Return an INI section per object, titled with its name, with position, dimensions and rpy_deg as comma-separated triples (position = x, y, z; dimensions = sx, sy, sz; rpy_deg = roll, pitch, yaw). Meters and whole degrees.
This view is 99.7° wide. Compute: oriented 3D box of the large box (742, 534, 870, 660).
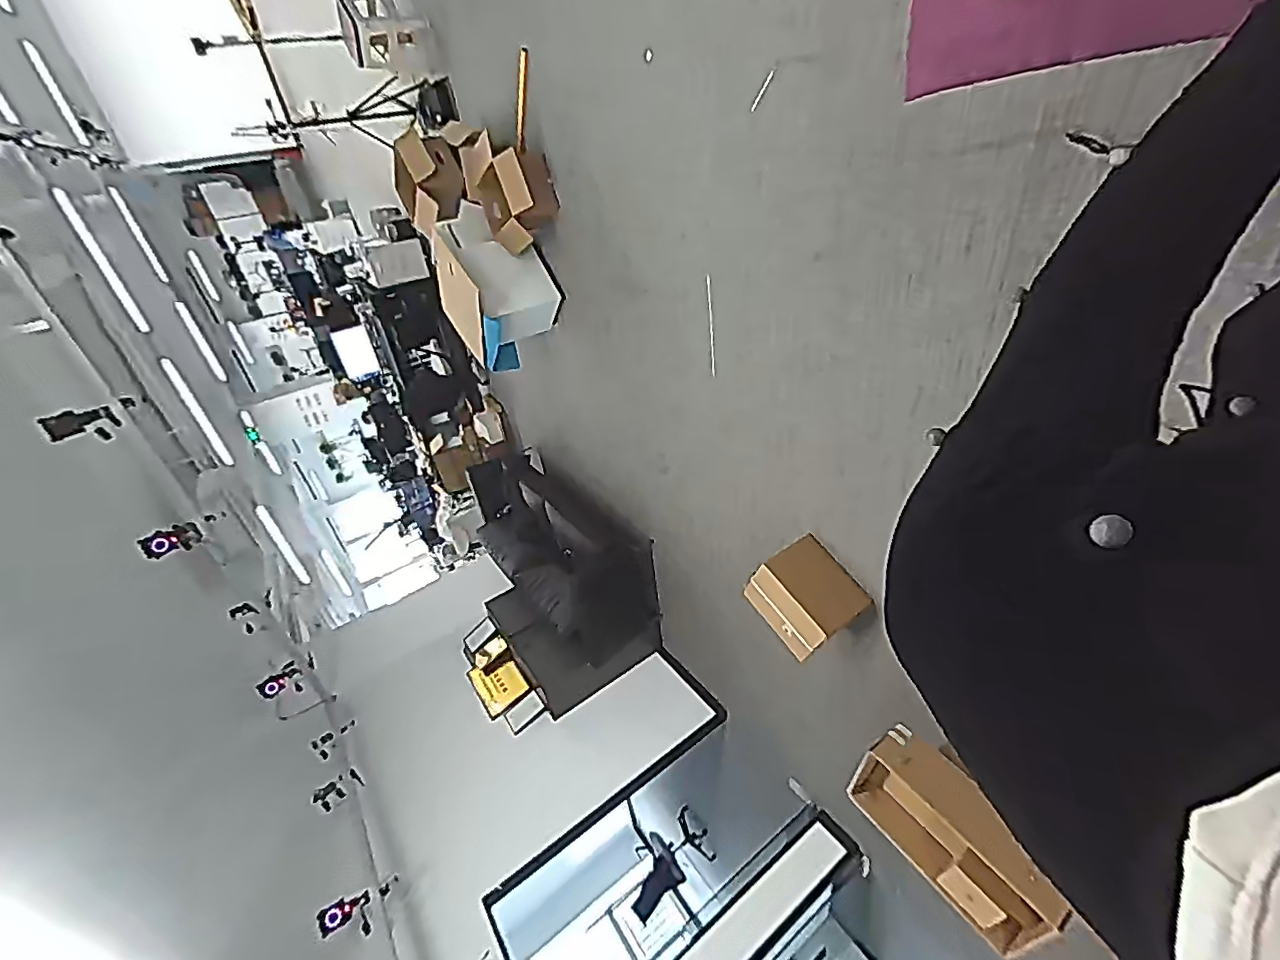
[large box]
position = 0.747, 0.531, 2.476
dimensions = 0.408, 0.320, 0.320
rpy_deg = 49, 151, 25
